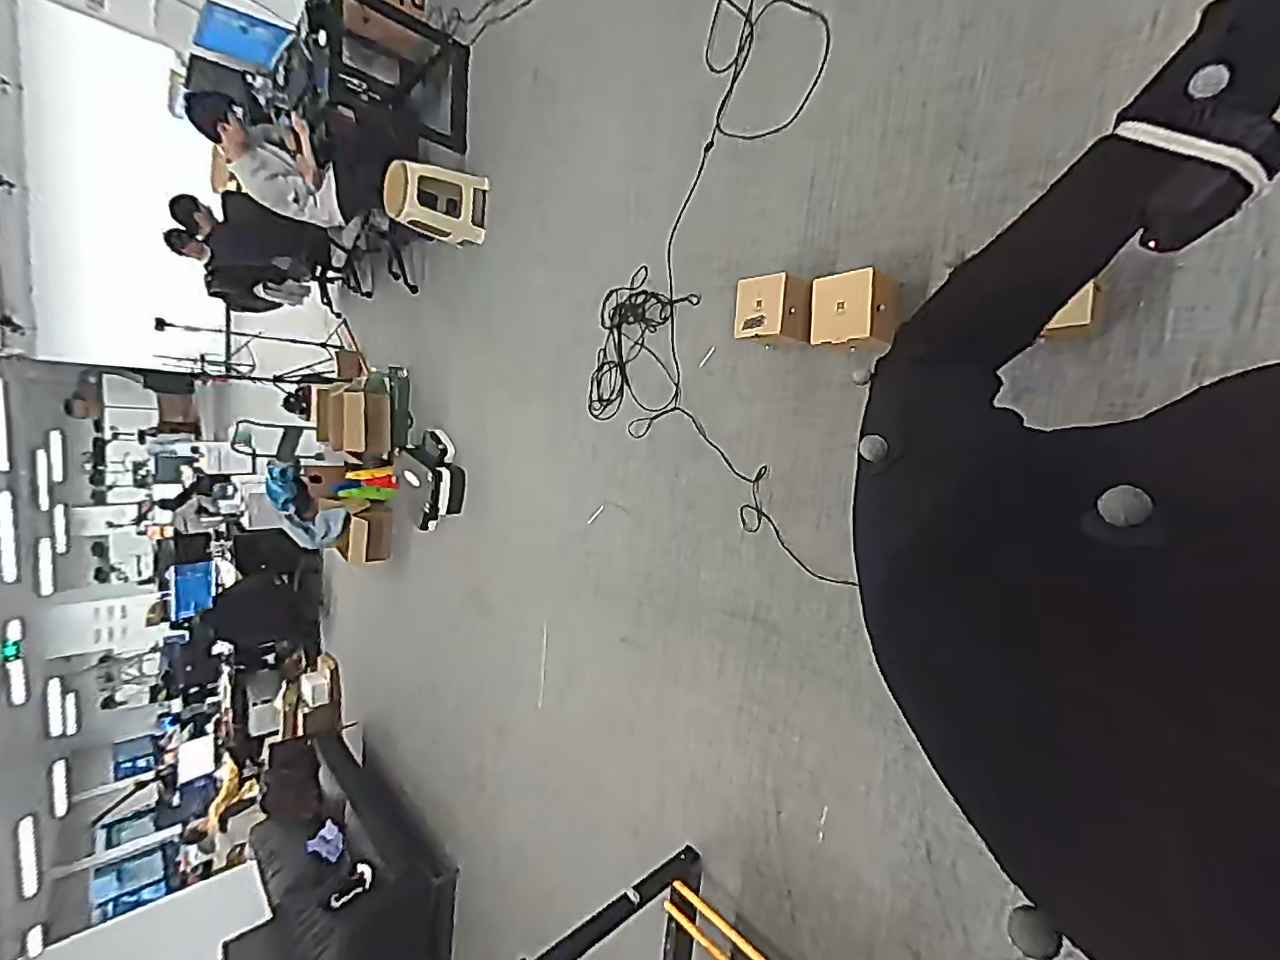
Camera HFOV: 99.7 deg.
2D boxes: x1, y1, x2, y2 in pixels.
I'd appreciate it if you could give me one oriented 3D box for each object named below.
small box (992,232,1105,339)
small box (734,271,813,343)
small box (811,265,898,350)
[{"bbox_3d":[0.873,-0.401,1.154,0.168,0.176,0.179,6,97,45],"label":"small box"},{"bbox_3d":[0.405,-0.514,1.635,0.168,0.176,0.179,9,98,46],"label":"small box"},{"bbox_3d":[0.579,-0.457,1.458,0.168,0.176,0.179,5,97,46],"label":"small box"}]
